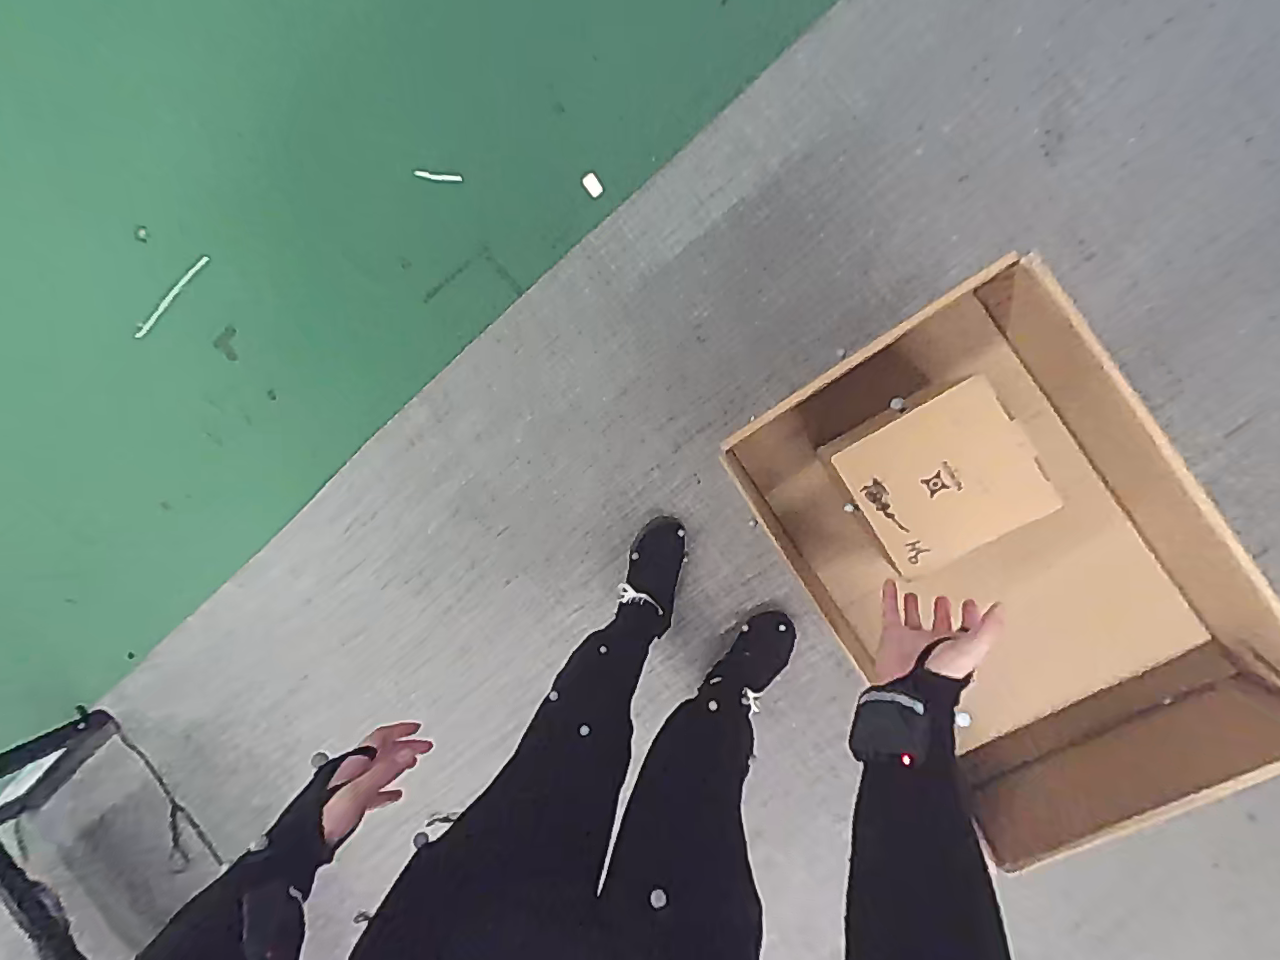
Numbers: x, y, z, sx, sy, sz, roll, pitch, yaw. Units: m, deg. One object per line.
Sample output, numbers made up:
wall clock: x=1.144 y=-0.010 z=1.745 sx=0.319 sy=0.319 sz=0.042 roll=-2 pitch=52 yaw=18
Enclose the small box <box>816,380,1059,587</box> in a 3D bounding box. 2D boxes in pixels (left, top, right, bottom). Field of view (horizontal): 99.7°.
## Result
small box: x=0.336 y=-0.002 z=0.653 sx=0.179 sy=0.176 sz=0.168 roll=-31 pitch=88 yaw=13
